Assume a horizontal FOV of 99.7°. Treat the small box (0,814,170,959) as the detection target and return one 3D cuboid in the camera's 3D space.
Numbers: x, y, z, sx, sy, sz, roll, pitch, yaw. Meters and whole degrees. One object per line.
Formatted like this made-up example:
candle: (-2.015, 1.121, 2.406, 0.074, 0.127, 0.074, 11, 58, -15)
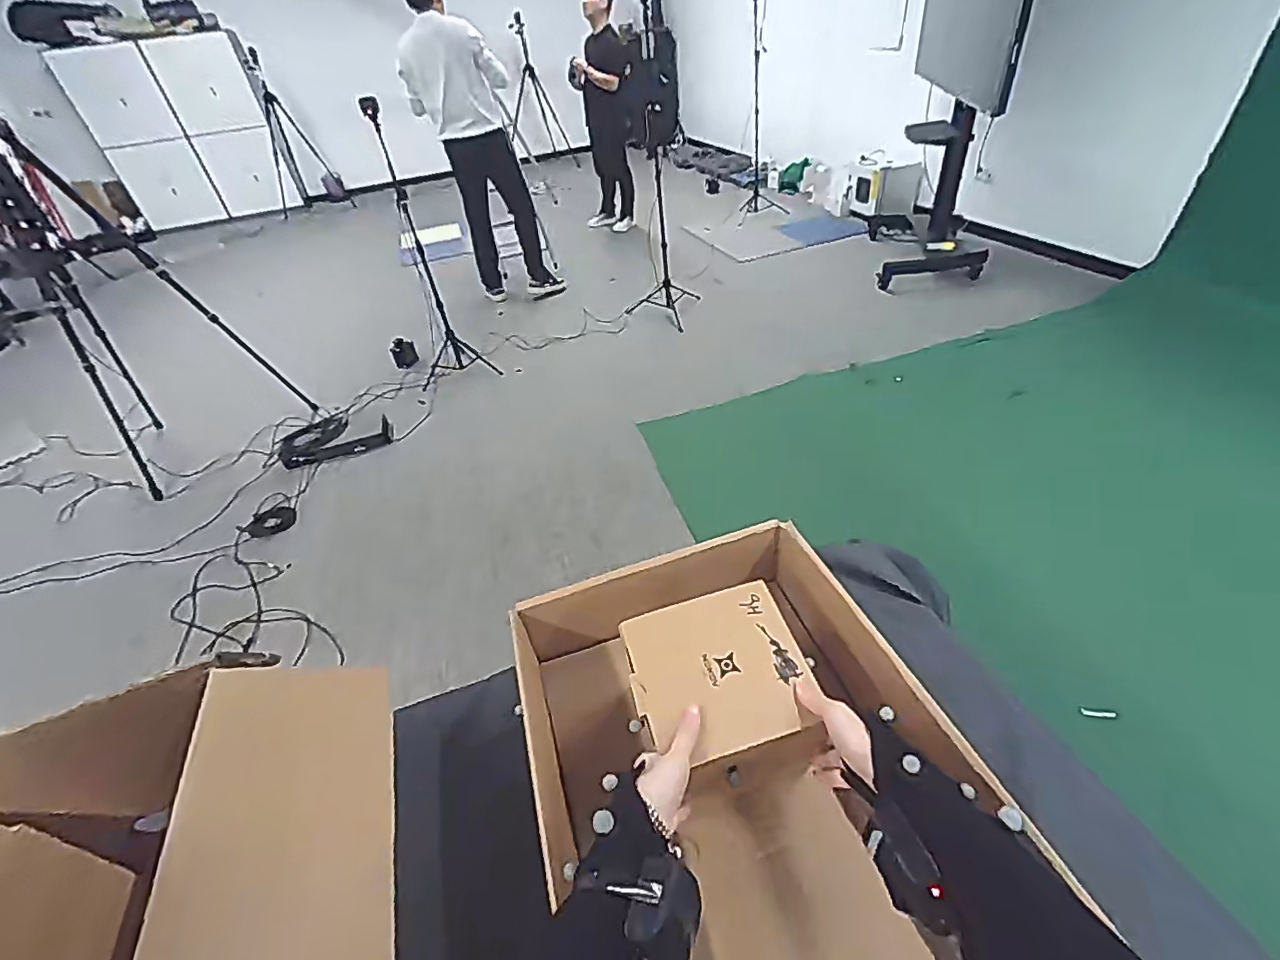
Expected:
small box: (-0.474, 0.368, 0.362, 0.168, 0.176, 0.179, -15, 43, -9)
